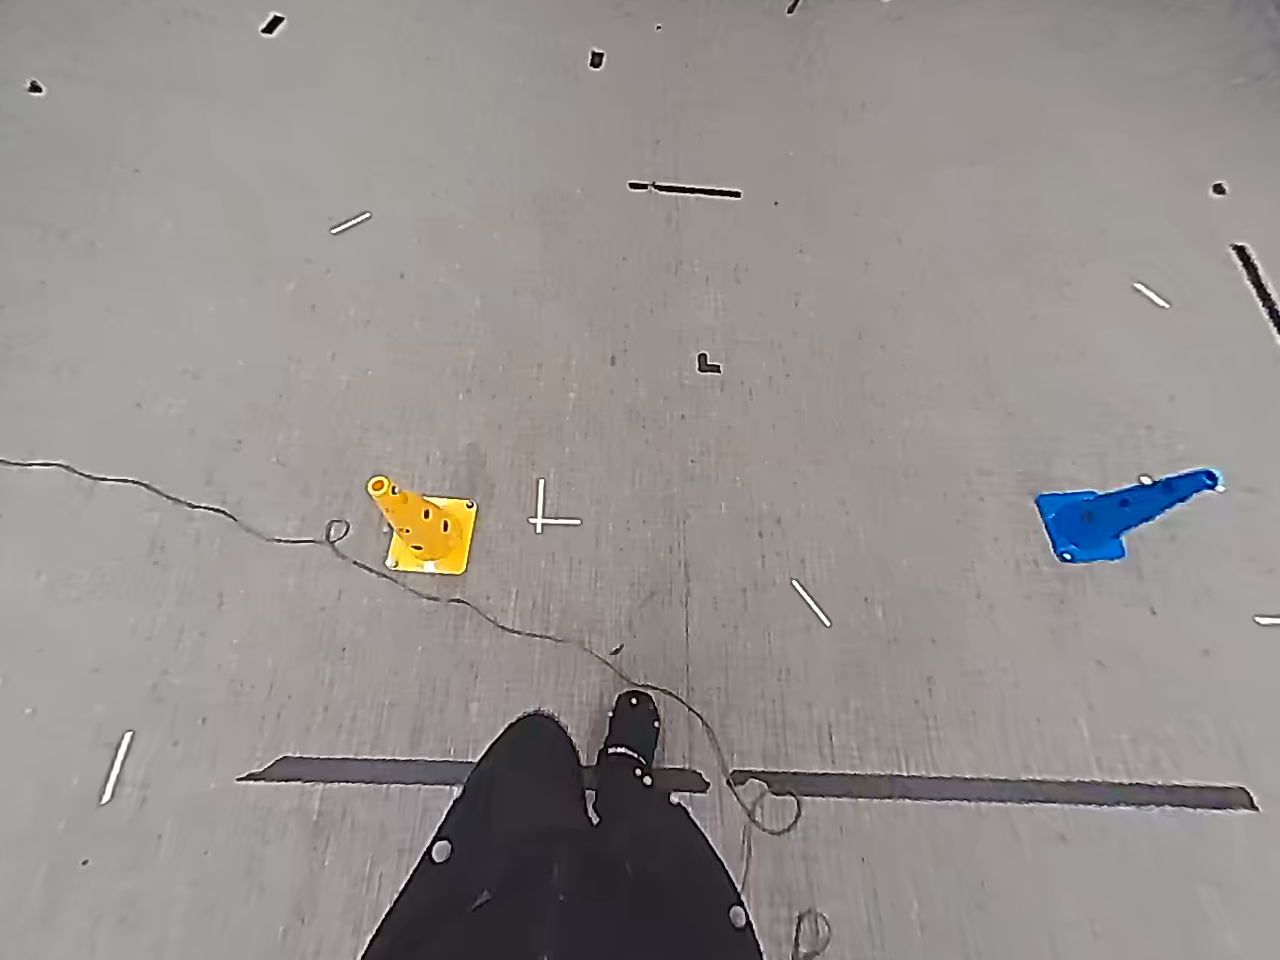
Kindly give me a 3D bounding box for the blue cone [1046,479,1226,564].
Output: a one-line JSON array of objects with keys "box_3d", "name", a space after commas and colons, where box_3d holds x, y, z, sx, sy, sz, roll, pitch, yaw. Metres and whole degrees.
[{"box_3d": [1.235, 0.074, 1.336, 0.193, 0.380, 0.192, -2, 68, -4], "name": "blue cone"}]
